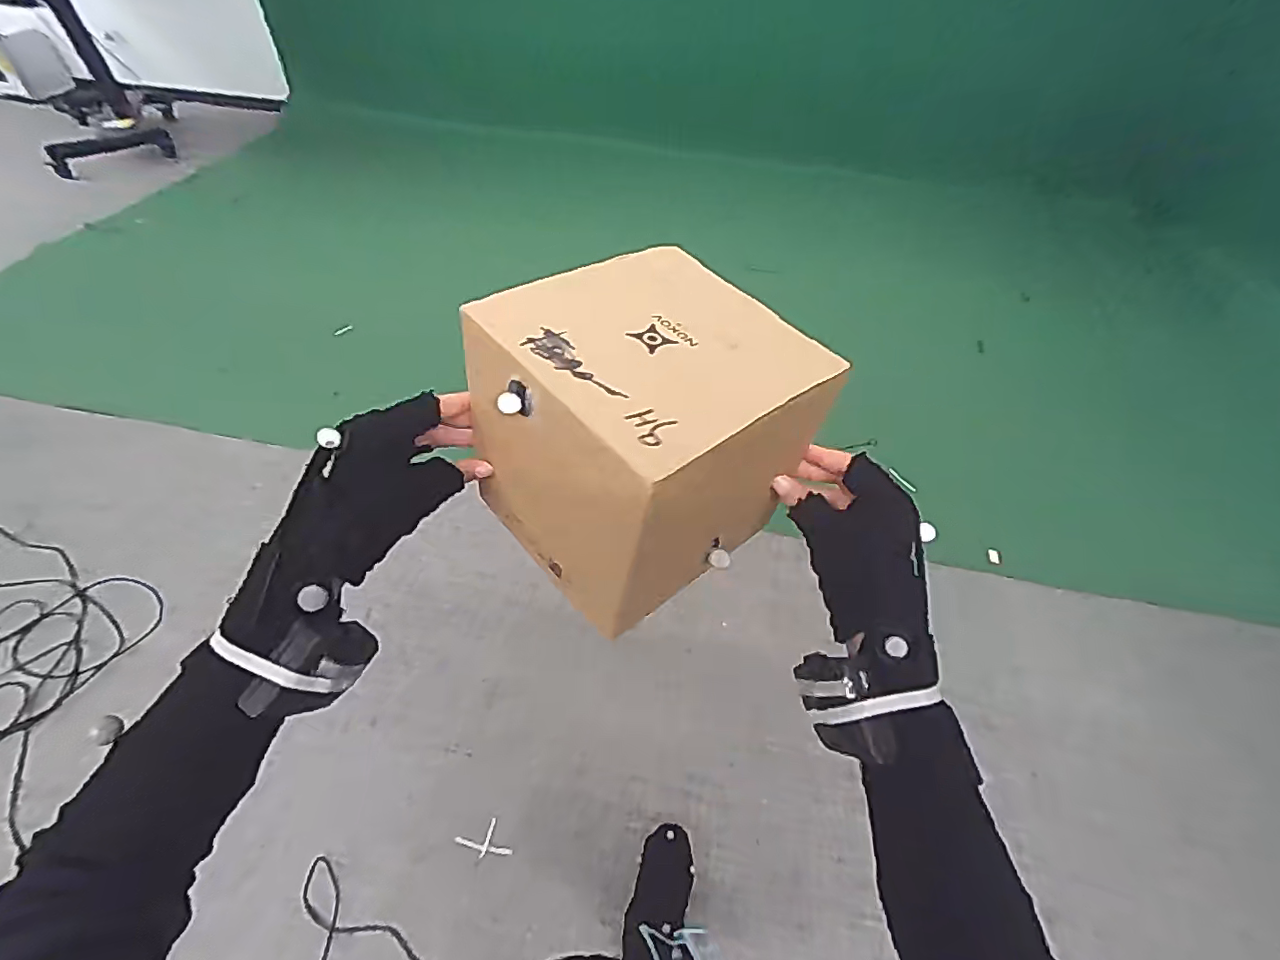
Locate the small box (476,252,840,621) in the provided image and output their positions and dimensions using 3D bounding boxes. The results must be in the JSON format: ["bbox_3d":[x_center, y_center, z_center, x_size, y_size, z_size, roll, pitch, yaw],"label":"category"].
[{"bbox_3d":[0.001,-0.034,0.393,0.179,0.176,0.168,-30,61,-31],"label":"small box"}]
